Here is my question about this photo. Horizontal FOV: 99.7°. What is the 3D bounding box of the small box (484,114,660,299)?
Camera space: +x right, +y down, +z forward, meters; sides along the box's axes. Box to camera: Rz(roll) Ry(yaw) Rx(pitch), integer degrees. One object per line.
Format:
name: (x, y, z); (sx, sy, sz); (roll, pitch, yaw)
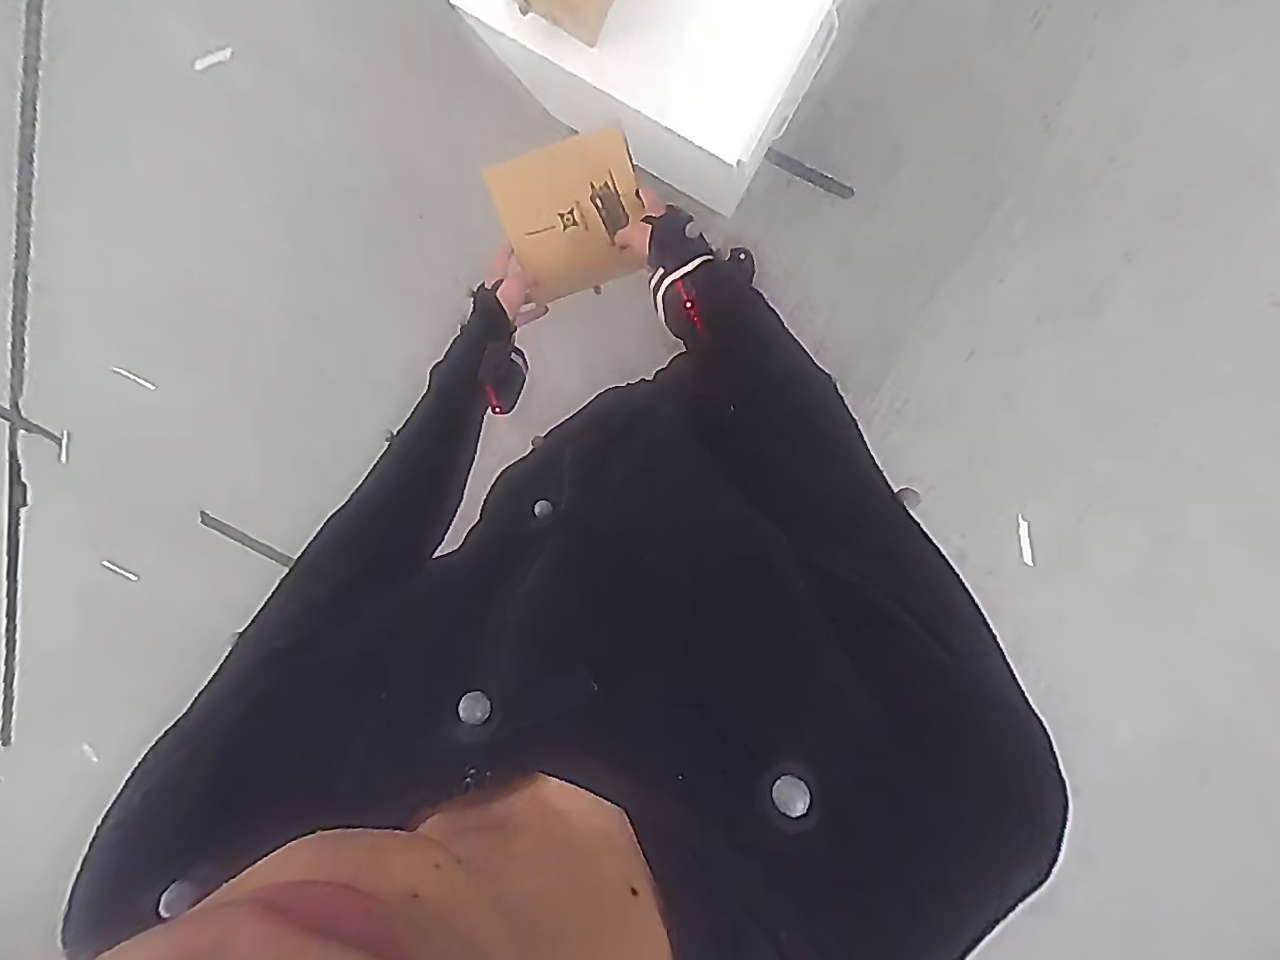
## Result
small box: (-0.082, -0.362, 0.734); (0.179, 0.176, 0.168); (-17, 113, 7)

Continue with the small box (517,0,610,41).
small box: (-0.112, -0.739, 0.705); (0.168, 0.176, 0.179); (30, 110, -2)
